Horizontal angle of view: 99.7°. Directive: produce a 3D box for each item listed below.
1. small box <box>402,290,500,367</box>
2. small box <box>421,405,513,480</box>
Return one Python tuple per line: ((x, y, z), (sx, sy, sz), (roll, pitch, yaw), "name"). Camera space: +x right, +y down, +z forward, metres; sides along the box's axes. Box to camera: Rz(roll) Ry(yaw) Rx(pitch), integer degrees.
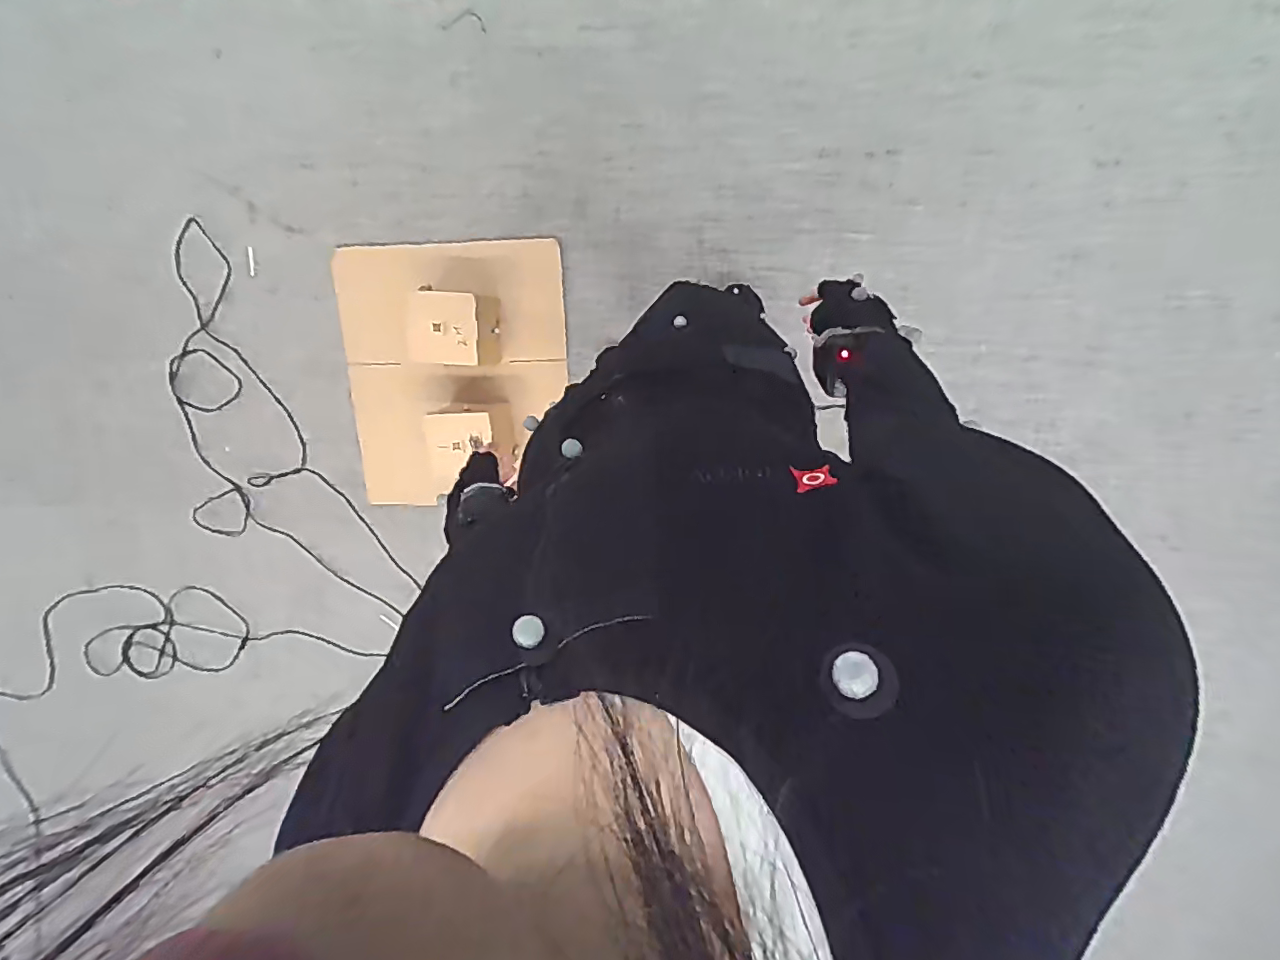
((-0.459, -0.373, 1.335), (0.179, 0.176, 0.168), (4, 106, 3), "small box")
((-0.437, -0.102, 1.404), (0.179, 0.176, 0.168), (-2, 105, 6), "small box")
